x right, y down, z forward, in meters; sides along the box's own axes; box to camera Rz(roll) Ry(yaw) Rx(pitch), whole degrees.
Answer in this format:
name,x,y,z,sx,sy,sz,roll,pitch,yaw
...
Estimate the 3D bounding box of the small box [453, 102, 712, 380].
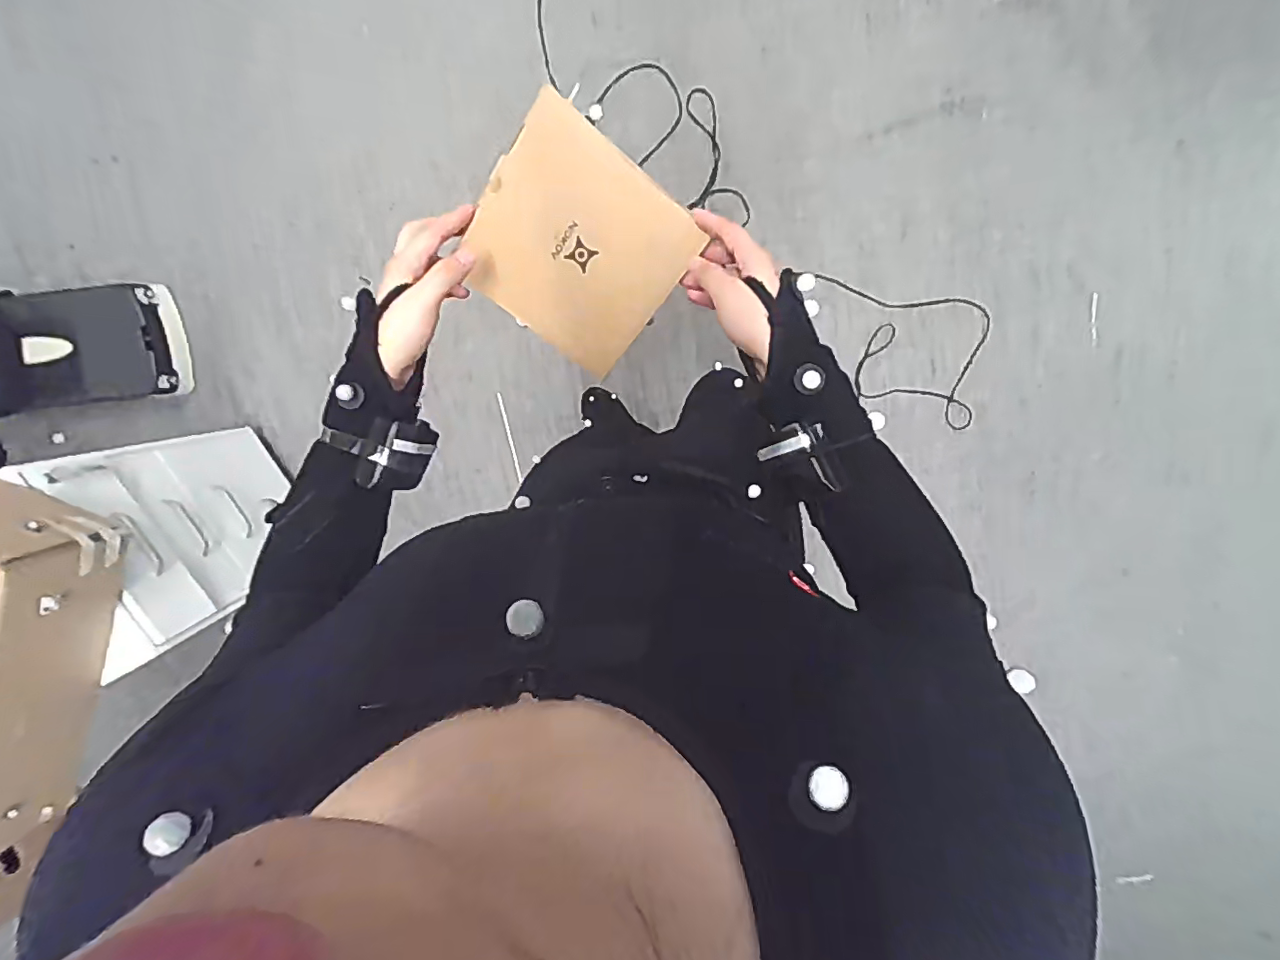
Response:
name,x,y,z,sx,sy,sz,roll,pitch,yaw
small box,-0.050,-0.237,0.547,0.179,0.176,0.168,34,114,-16
